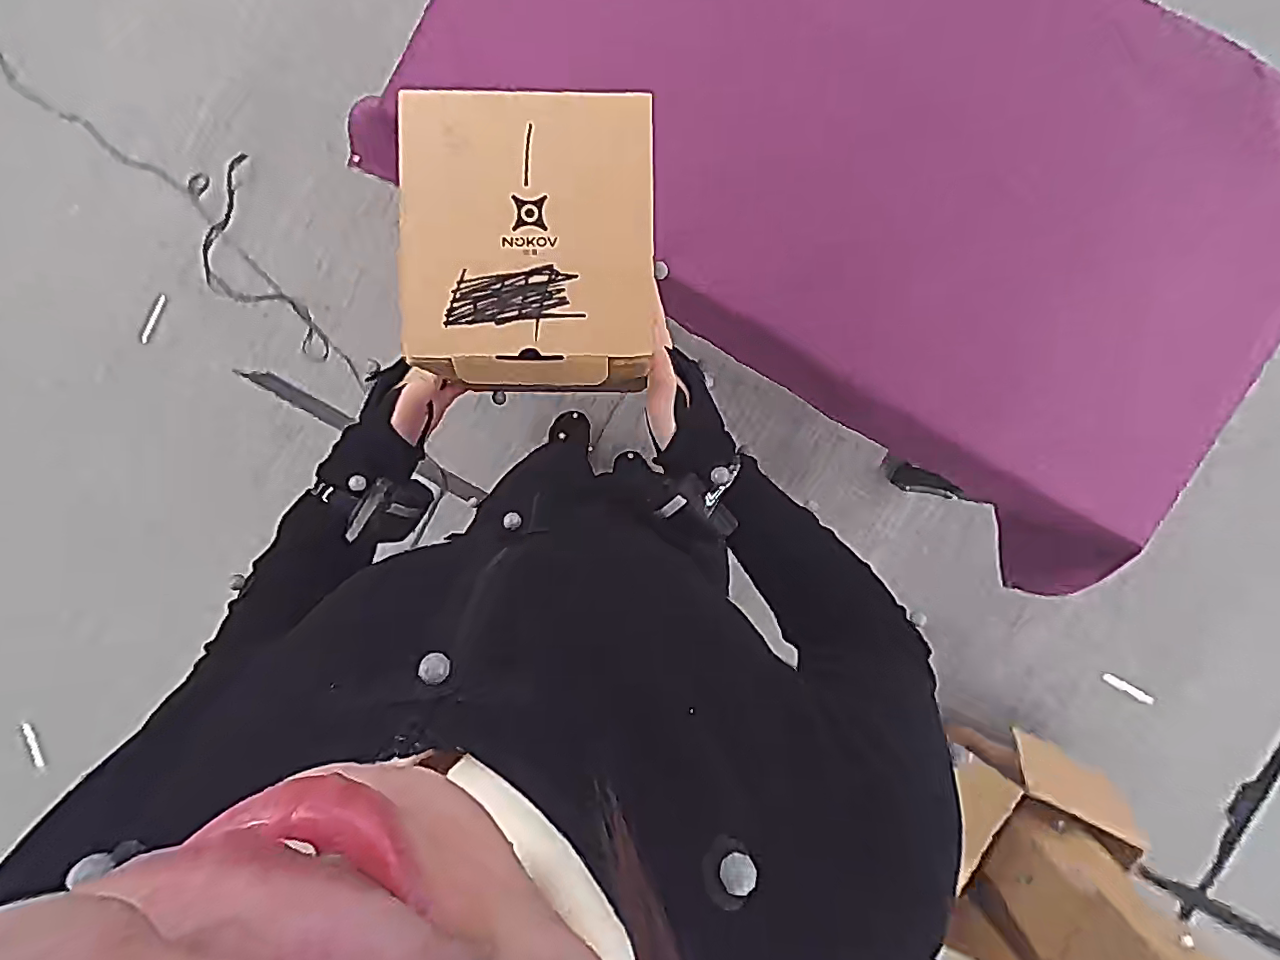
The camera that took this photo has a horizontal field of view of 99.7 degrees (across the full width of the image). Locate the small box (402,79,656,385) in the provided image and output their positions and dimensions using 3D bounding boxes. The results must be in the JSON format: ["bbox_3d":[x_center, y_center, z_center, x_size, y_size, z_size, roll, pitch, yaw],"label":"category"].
[{"bbox_3d":[-0.074,-0.174,0.434,0.168,0.176,0.179,1,91,-2],"label":"small box"}]

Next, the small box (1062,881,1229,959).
[{"bbox_3d":[0.874,0.841,0.916,0.168,0.176,0.179,22,97,5],"label":"small box"}]

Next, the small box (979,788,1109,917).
[{"bbox_3d":[0.915,0.848,1.243,0.168,0.176,0.179,7,97,5],"label":"small box"}]
